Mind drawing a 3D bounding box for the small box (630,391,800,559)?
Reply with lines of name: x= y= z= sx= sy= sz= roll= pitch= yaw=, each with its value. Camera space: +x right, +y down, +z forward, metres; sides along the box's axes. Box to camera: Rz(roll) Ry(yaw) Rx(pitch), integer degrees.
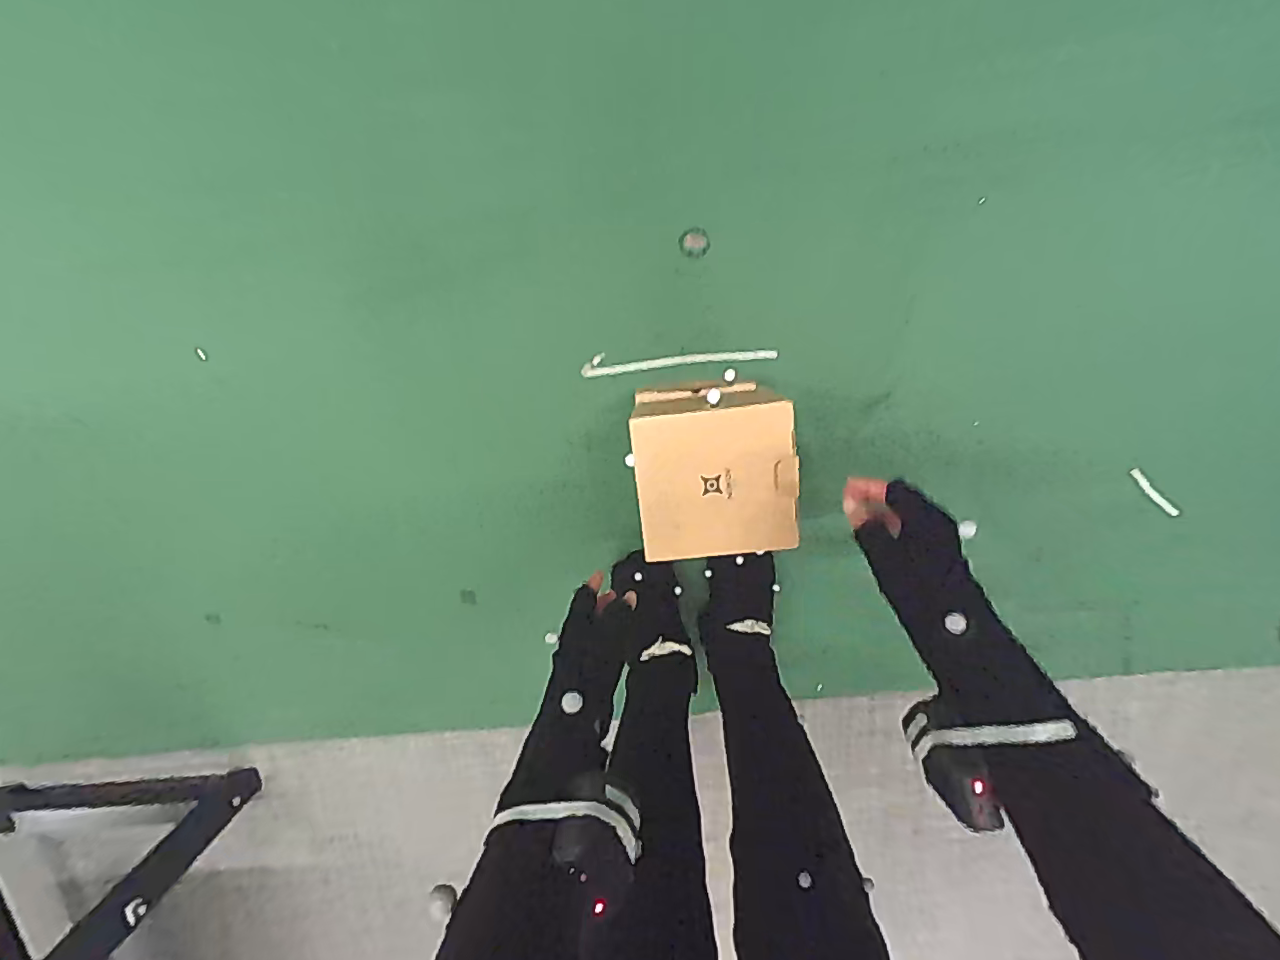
small box: x=0.087 y=-0.014 z=0.667 sx=0.179 sy=0.176 sz=0.168 roll=-6 pitch=104 yaw=3
